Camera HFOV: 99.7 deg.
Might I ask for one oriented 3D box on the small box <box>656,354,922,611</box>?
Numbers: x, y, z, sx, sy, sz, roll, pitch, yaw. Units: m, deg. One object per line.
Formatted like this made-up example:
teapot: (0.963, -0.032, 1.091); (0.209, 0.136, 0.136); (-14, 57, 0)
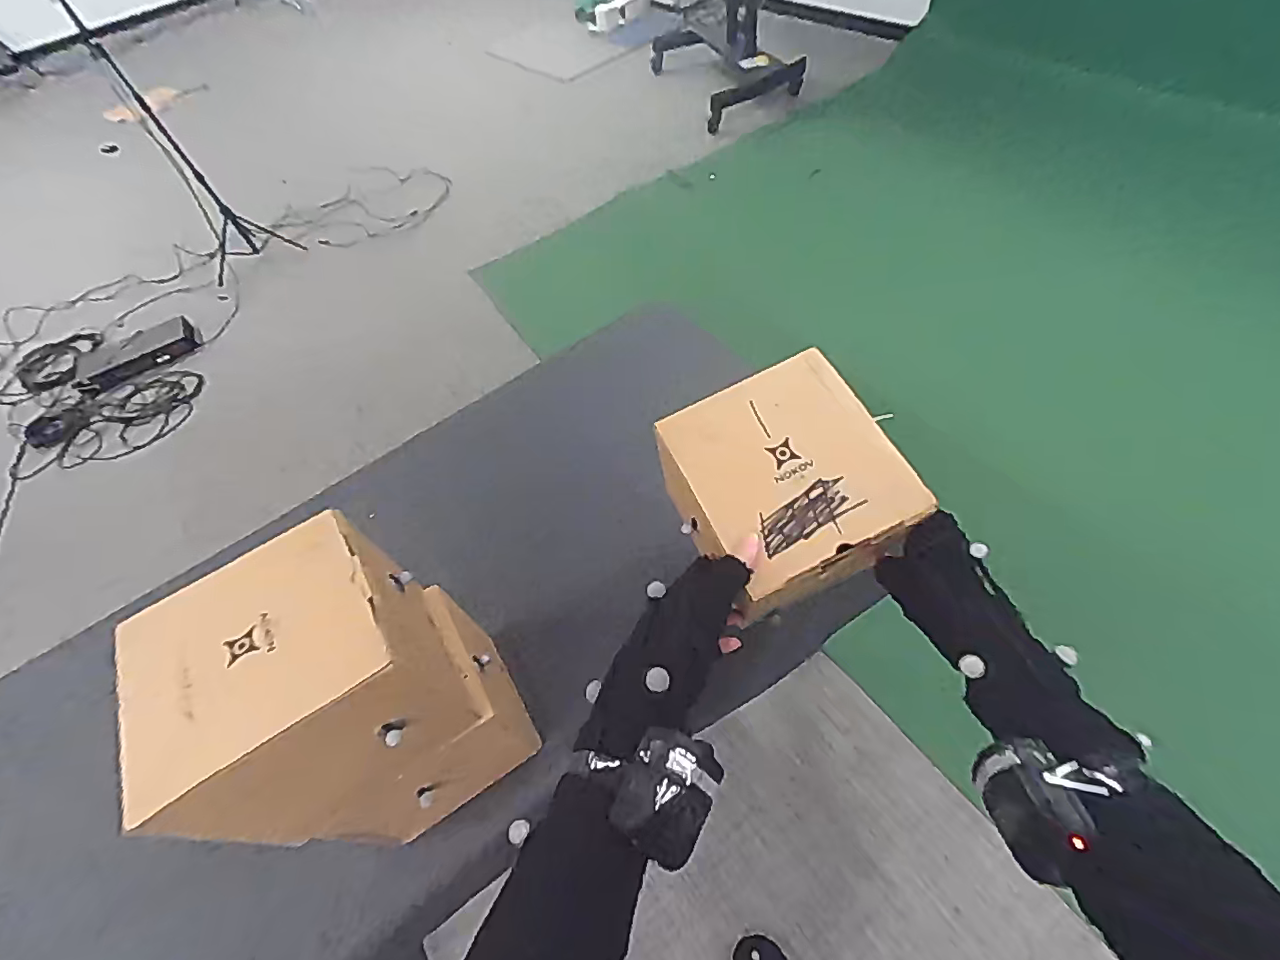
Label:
small box: (0.132, 0.016, 0.538); (0.168, 0.176, 0.179); (-25, 65, -4)

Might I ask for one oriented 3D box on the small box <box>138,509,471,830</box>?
small box: (-0.268, 0.164, 0.465); (0.179, 0.176, 0.168); (-33, 55, -13)

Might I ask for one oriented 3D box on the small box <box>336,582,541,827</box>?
small box: (-0.236, 0.253, 0.598); (0.179, 0.176, 0.168); (-31, 56, -13)
